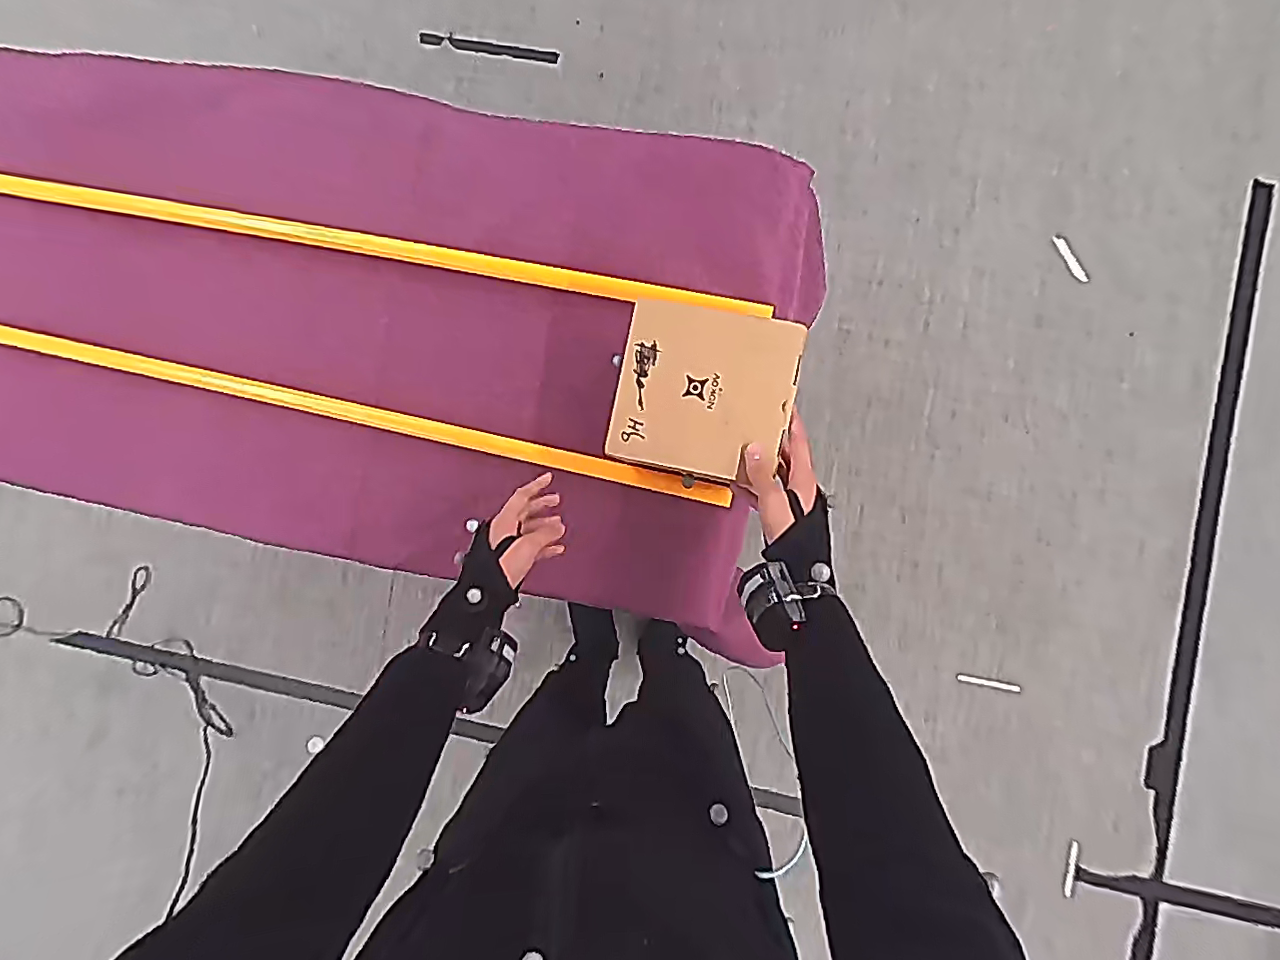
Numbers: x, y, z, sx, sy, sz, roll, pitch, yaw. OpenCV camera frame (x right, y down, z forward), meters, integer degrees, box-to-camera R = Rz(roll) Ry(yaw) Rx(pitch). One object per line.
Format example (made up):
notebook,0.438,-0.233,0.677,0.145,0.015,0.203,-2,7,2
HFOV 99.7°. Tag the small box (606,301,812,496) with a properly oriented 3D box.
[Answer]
small box,0.075,-0.082,0.615,0.179,0.176,0.168,13,90,6
